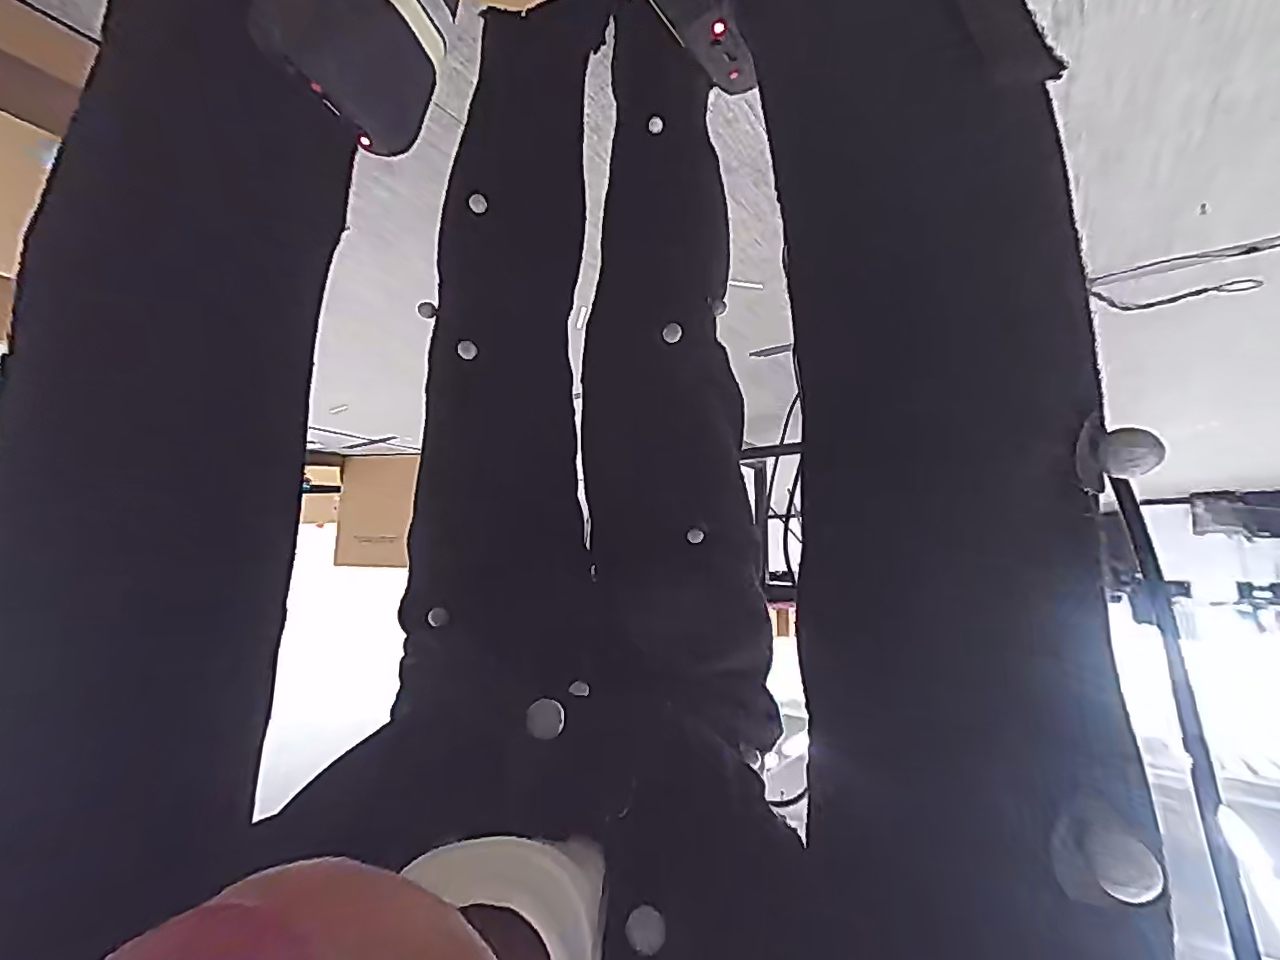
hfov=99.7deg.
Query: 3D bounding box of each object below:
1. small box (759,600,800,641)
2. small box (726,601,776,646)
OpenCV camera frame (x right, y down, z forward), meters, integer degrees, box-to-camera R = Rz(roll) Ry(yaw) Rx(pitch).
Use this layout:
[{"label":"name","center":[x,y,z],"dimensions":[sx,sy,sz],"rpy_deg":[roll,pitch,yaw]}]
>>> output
[{"label":"small box","center":[0.641,0.654,2.533],"dimensions":[0.179,0.176,0.168],"rpy_deg":[-6,168,37]},{"label":"small box","center":[0.484,0.622,2.360],"dimensions":[0.179,0.176,0.168],"rpy_deg":[-4,170,31]}]
